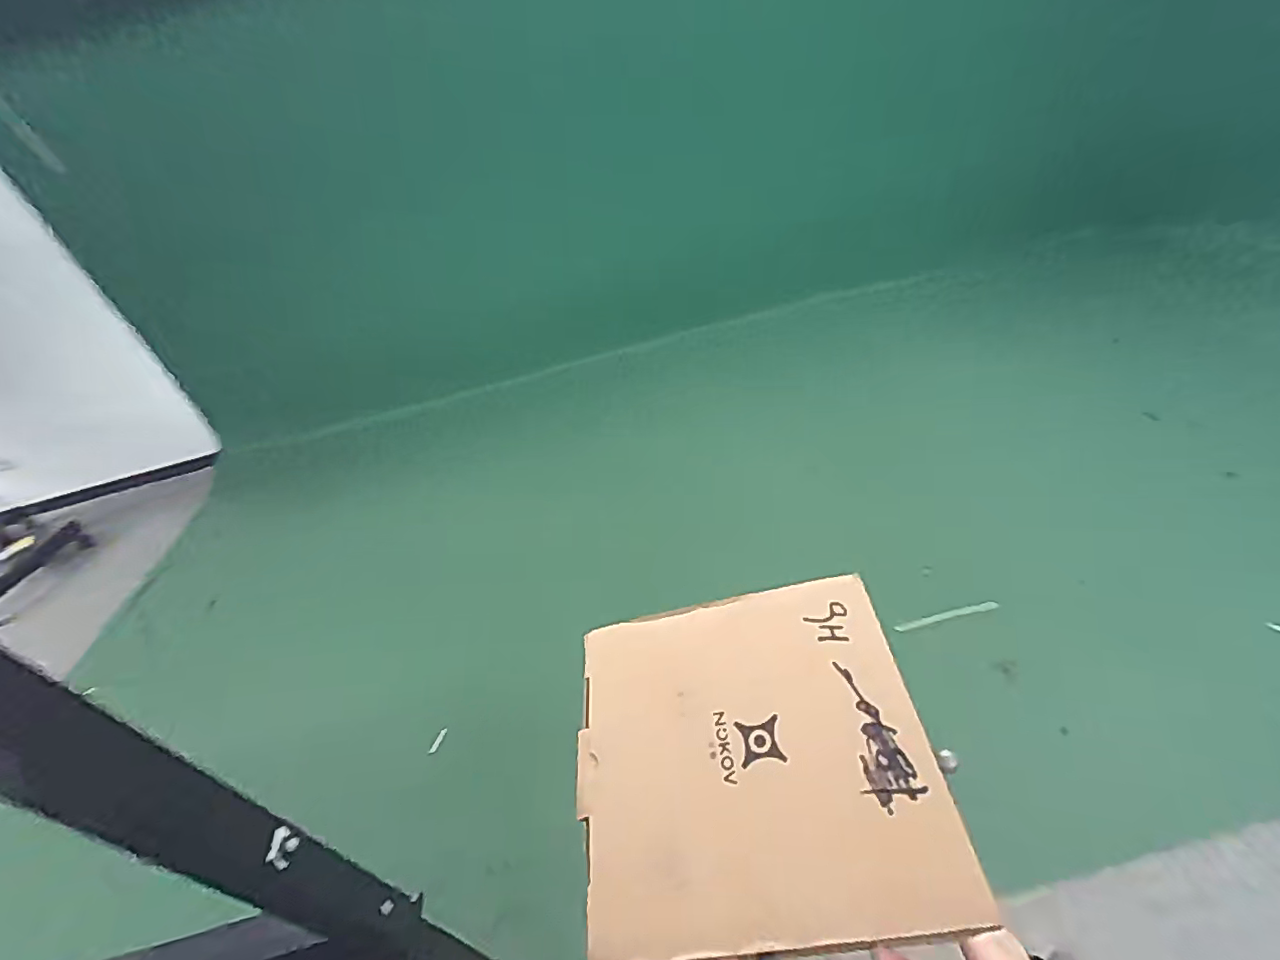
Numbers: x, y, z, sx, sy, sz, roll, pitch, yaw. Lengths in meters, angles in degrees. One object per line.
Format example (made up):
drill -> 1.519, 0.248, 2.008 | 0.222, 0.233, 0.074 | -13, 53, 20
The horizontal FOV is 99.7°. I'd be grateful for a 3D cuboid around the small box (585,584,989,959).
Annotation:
small box -> 0.078, 0.192, 0.338 | 0.179, 0.176, 0.168 | -14, 46, 10
